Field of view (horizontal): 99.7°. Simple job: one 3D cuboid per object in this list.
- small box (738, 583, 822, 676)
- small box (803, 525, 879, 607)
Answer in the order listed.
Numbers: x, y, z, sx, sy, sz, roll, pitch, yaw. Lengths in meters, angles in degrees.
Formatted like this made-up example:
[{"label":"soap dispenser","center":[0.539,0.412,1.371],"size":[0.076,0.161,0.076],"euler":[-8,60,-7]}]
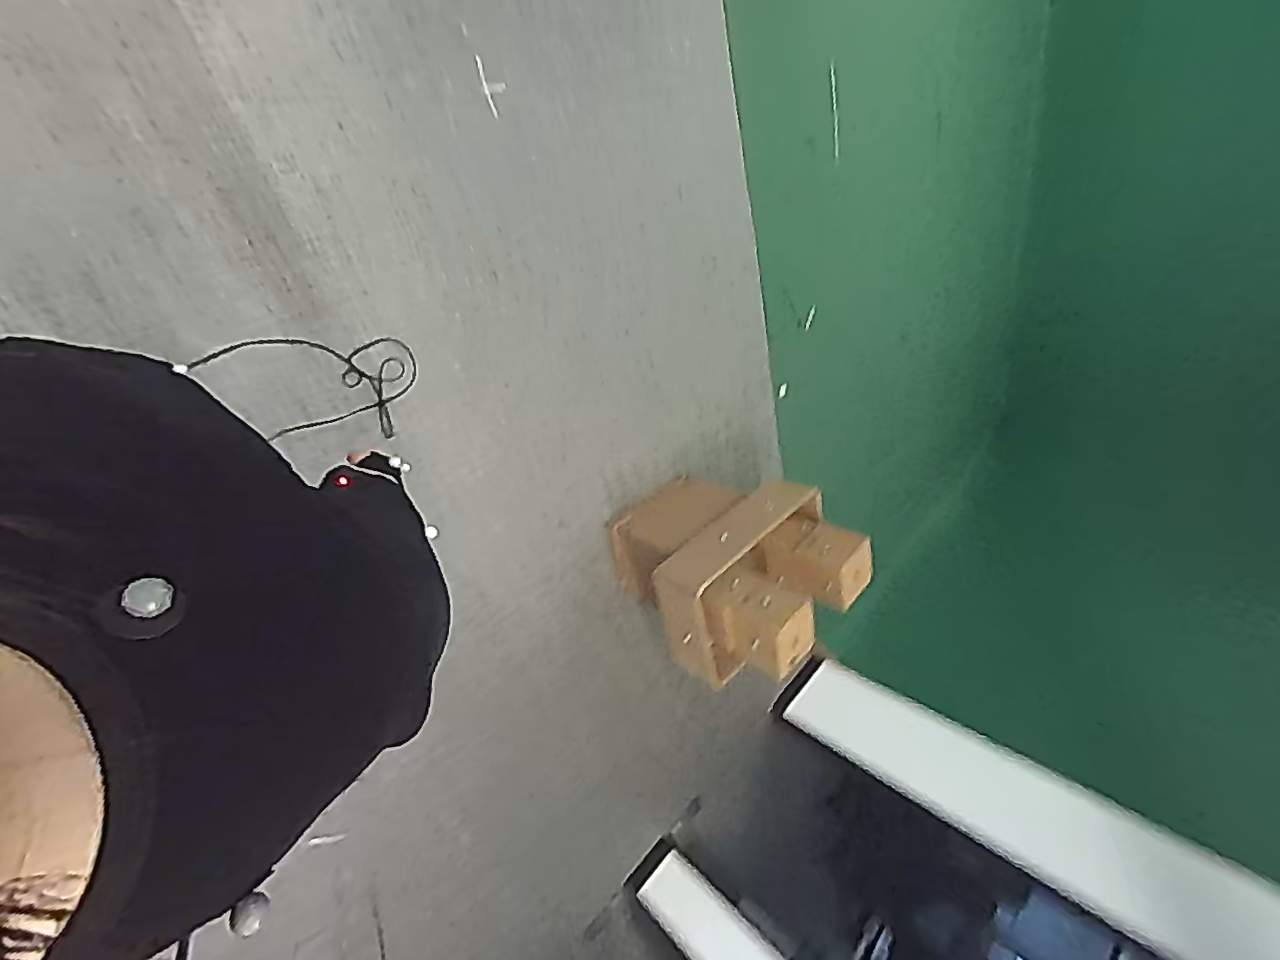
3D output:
[{"label":"small box","center":[0.397,0.414,1.544],"size":[0.168,0.176,0.179],"euler":[-31,121,-31]},{"label":"small box","center":[0.633,0.261,1.709],"size":[0.168,0.176,0.179],"euler":[-36,125,-27]}]
